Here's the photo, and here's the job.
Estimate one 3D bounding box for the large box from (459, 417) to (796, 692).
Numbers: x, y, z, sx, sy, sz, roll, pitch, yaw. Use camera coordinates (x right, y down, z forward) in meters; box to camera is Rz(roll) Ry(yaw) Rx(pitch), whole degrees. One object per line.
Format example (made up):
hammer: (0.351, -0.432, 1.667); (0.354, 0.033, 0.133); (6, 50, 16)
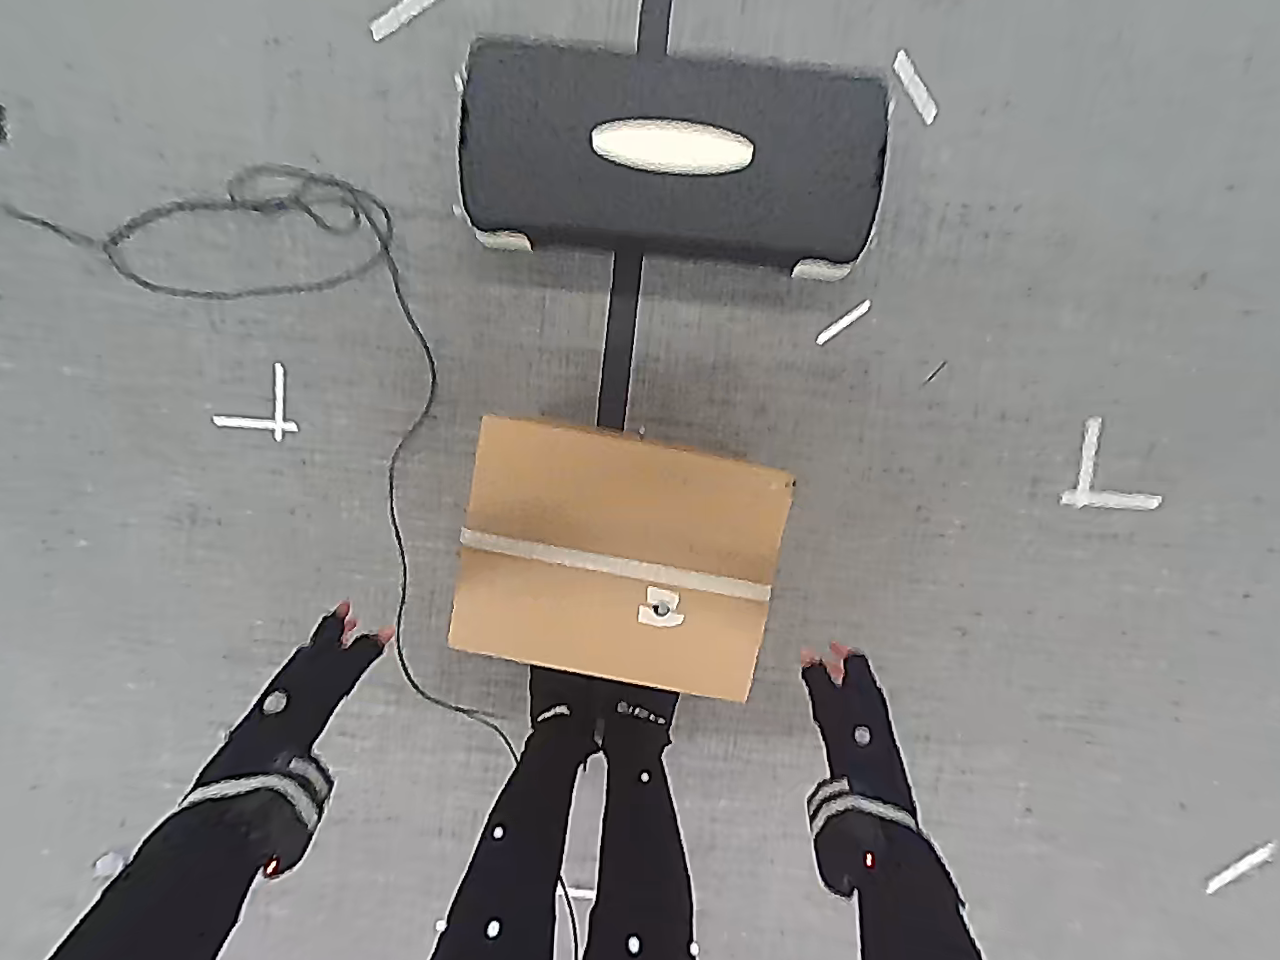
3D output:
large box: (-0.022, 0.088, 0.849); (0.408, 0.320, 0.320); (11, 97, -1)
